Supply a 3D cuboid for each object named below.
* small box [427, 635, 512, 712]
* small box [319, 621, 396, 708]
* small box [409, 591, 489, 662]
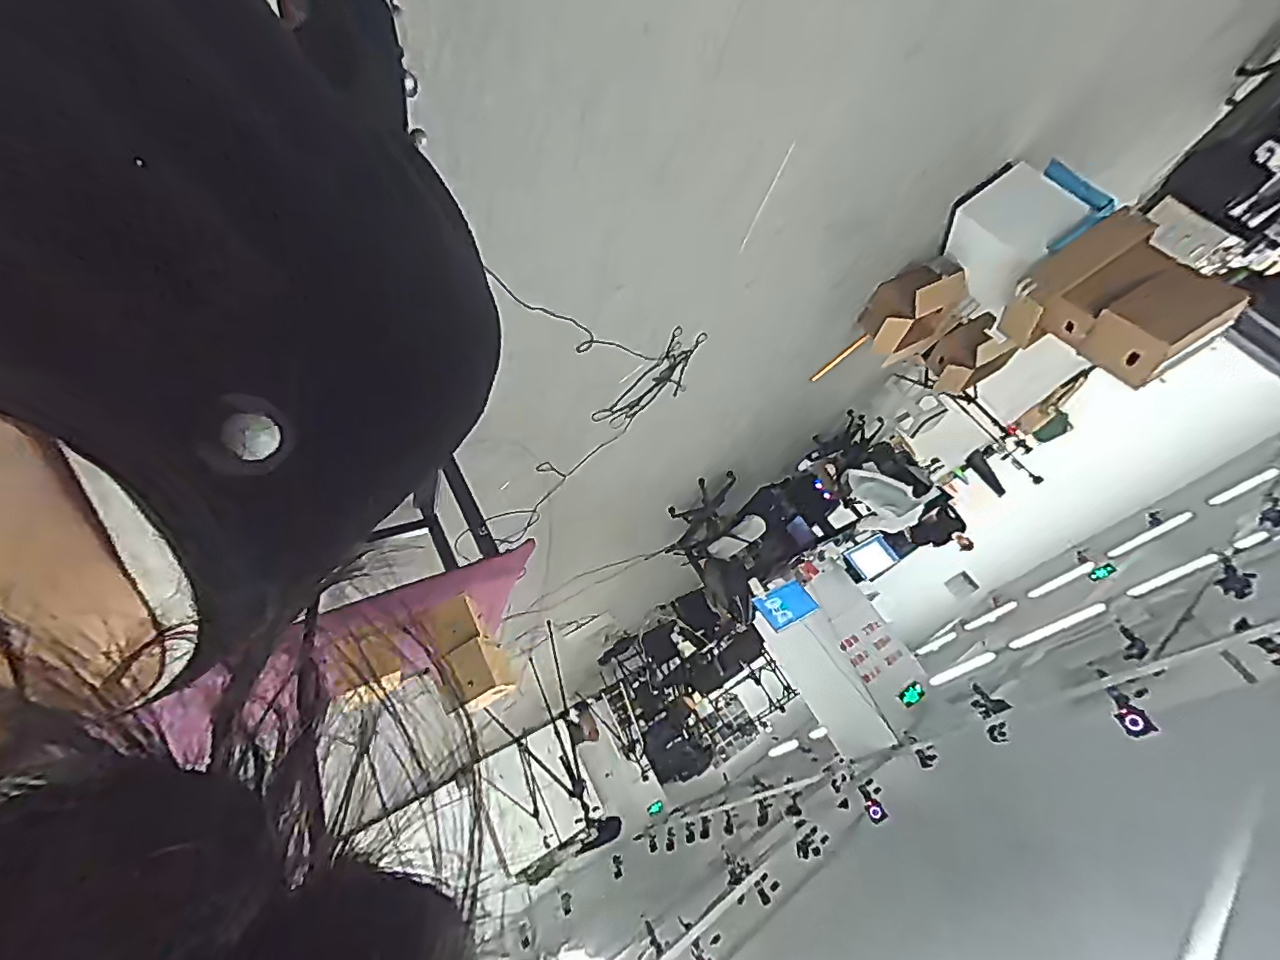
[{"bbox_3d":[-0.540,0.609,1.715,0.179,0.176,0.168,-31,157,-1],"label":"small box"},{"bbox_3d":[-0.850,0.550,1.626,0.168,0.176,0.179,-16,152,-37],"label":"small box"},{"bbox_3d":[-0.630,0.491,1.789,0.179,0.176,0.168,-27,157,-13],"label":"small box"}]
